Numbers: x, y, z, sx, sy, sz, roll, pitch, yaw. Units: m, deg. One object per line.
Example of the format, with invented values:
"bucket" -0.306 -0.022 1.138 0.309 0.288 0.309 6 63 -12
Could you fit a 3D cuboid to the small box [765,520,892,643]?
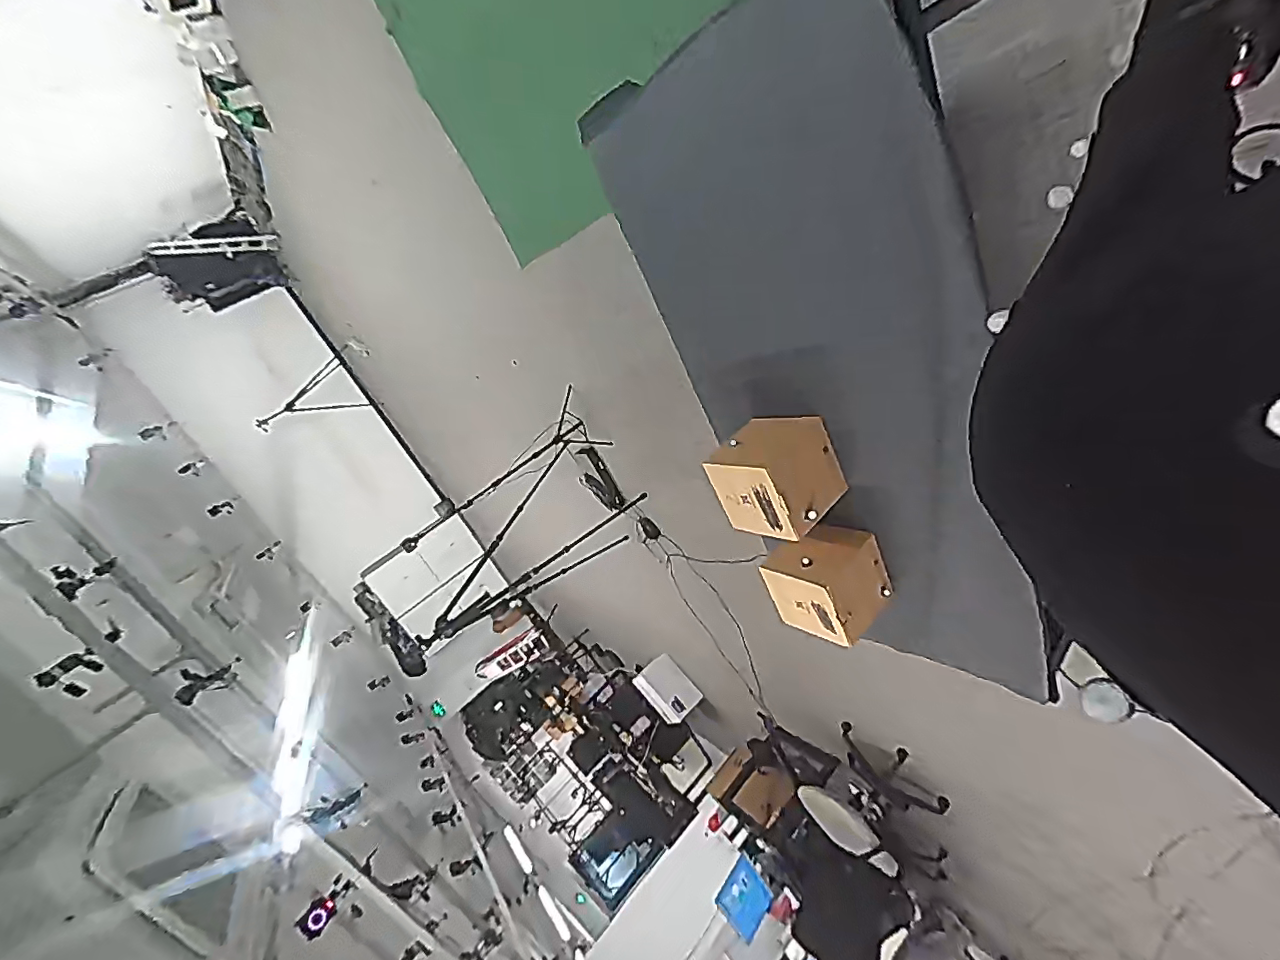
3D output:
"small box" 0.403 0.202 1.135 0.179 0.176 0.168 10 133 56
